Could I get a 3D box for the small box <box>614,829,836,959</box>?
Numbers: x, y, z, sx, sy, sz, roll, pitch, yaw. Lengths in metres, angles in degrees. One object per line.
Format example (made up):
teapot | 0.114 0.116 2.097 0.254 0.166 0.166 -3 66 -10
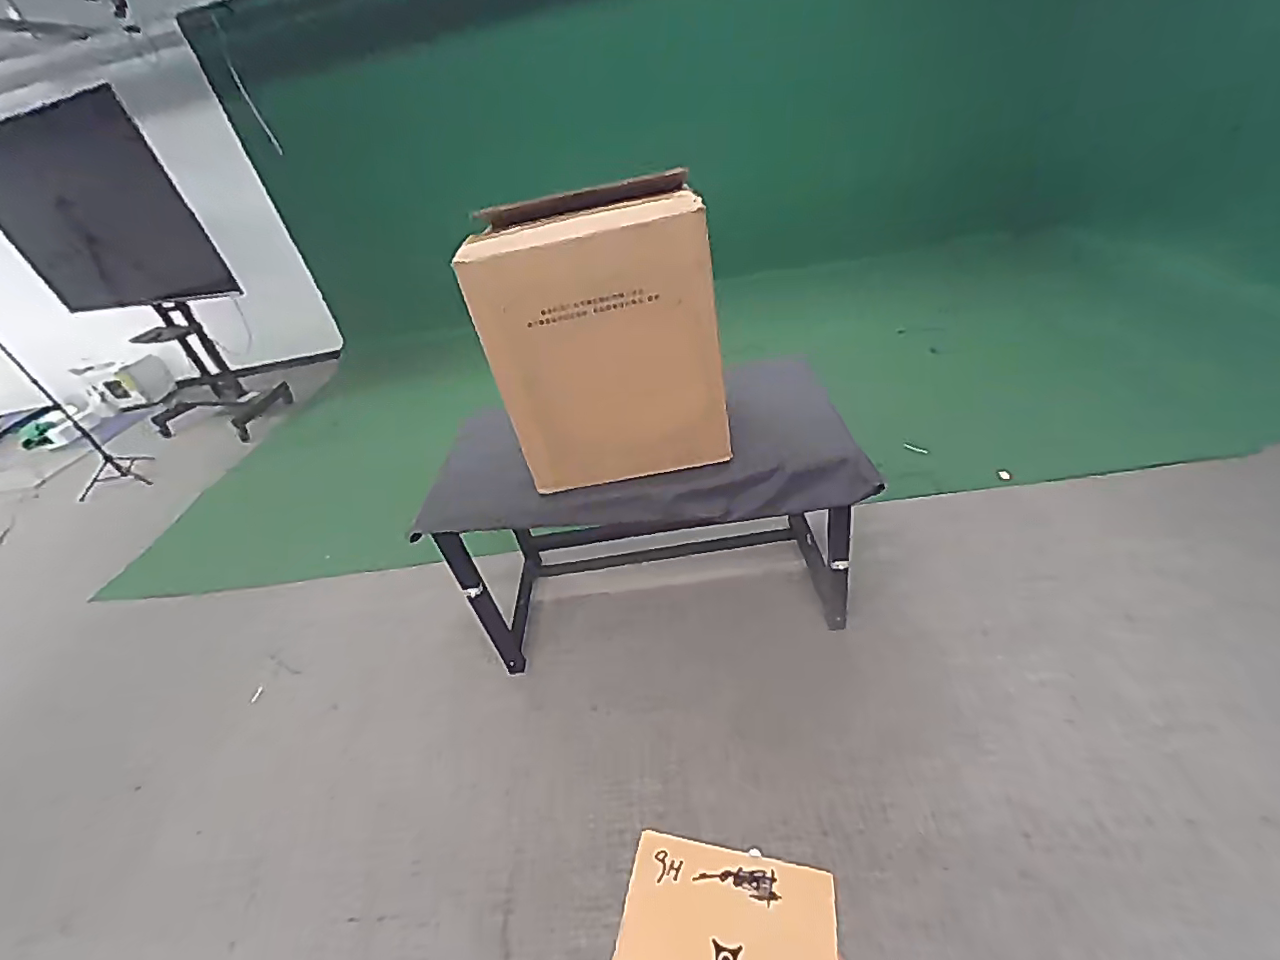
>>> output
small box | 0.067 0.434 0.441 0.168 0.176 0.179 5 32 13
